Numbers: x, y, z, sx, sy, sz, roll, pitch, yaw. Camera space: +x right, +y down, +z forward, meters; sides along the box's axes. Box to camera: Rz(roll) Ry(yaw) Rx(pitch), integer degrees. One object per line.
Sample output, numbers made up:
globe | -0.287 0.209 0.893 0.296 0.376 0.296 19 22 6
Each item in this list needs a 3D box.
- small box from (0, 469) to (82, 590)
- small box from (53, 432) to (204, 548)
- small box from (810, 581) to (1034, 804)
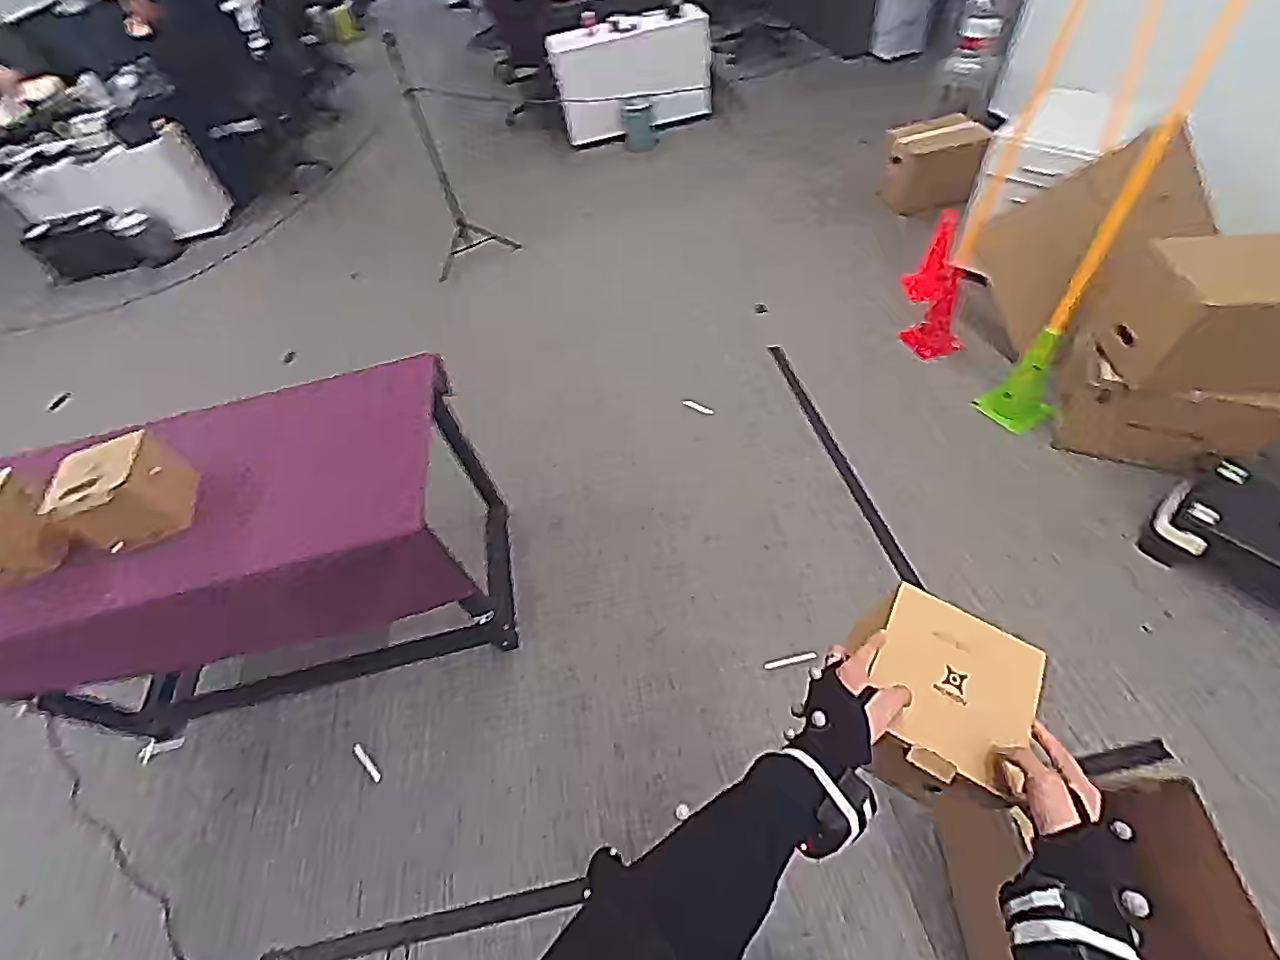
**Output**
small box | -1.394 0.112 1.191 0.168 0.176 0.179 -20 52 -6
small box | -1.124 0.030 1.209 0.168 0.176 0.179 -21 51 -7
small box | 0.324 0.260 0.650 0.168 0.176 0.179 28 60 15
